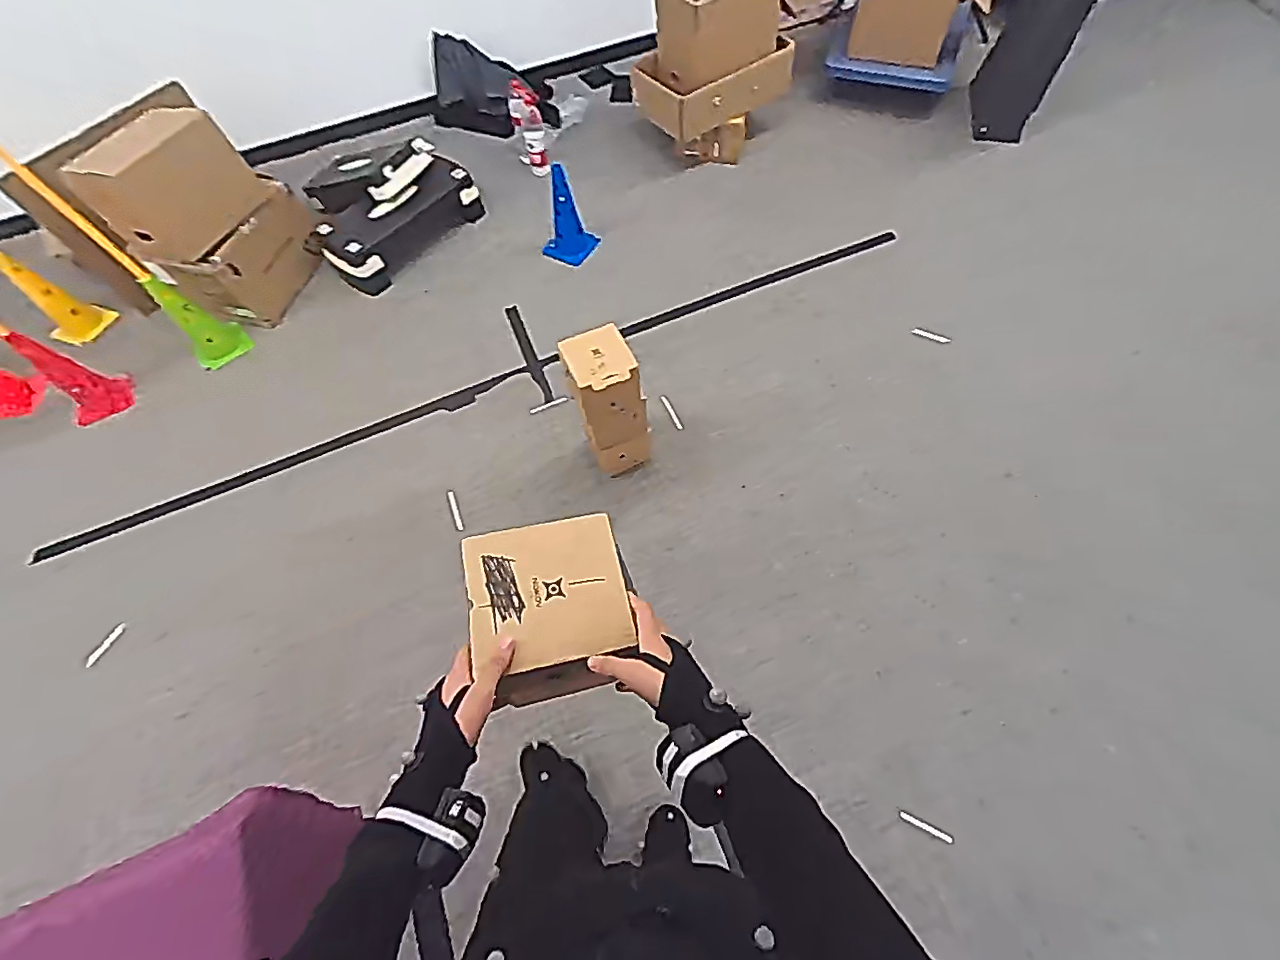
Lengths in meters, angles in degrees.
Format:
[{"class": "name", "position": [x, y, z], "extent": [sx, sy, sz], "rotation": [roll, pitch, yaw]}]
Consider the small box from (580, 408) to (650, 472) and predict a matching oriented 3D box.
[{"class": "small box", "position": [-0.075, -0.146, 1.766], "extent": [0.168, 0.176, 0.179], "rotation": [-26, 63, -10]}]

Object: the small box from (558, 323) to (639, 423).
[{"class": "small box", "position": [-0.109, -0.287, 1.468], "extent": [0.168, 0.176, 0.179], "rotation": [-22, 63, -9]}]

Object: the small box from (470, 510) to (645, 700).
[{"class": "small box", "position": [-0.096, 0.162, 0.673], "extent": [0.179, 0.176, 0.168], "rotation": [-12, 60, -5]}]
